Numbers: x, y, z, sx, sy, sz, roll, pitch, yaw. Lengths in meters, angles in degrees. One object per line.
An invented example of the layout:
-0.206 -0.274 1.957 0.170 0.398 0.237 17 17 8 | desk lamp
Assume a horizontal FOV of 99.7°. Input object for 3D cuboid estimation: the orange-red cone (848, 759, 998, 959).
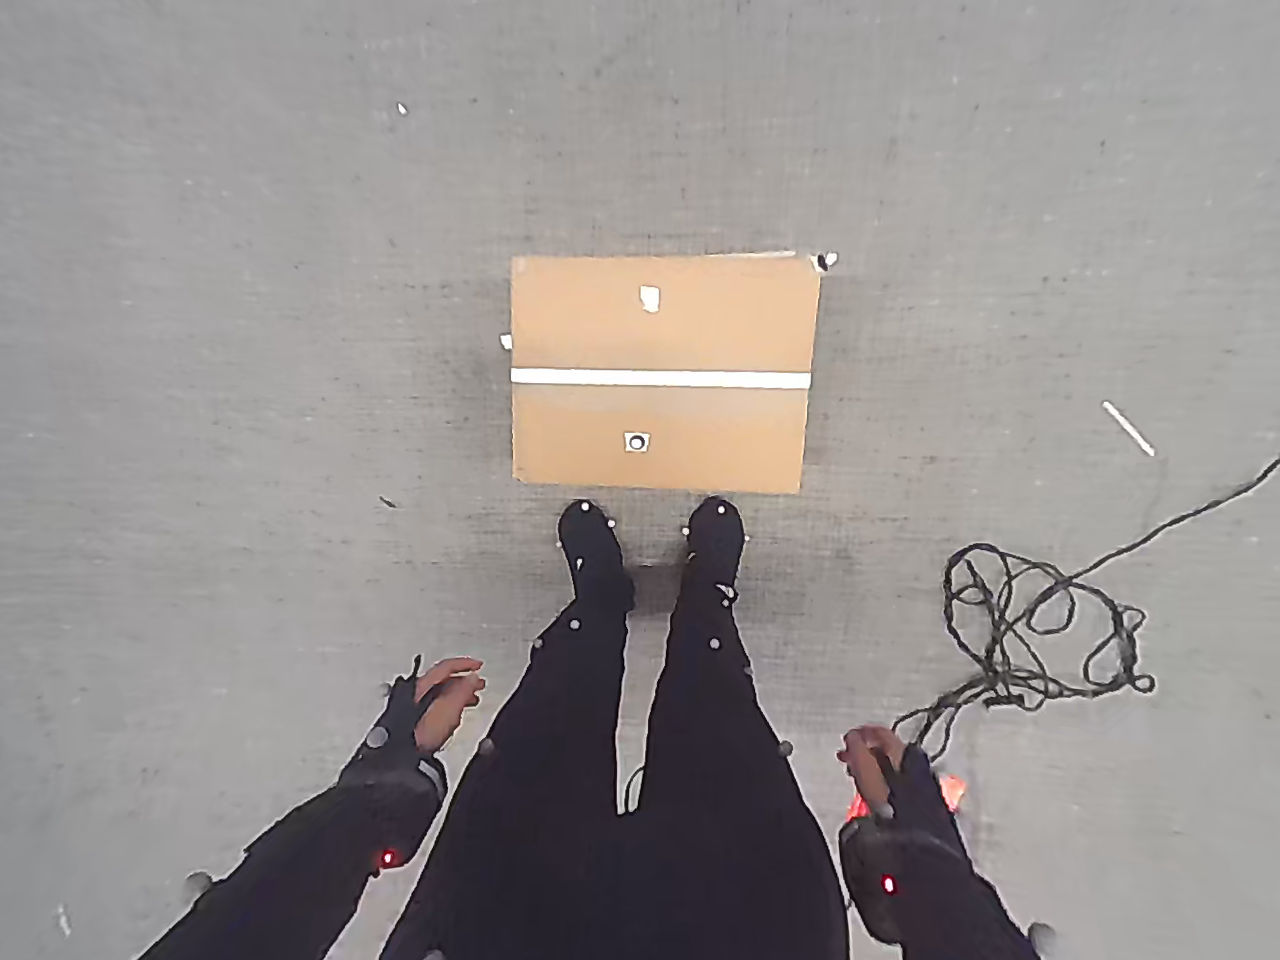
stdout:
0.560 0.738 0.995 0.199 0.360 0.198 20 104 -1 | orange-red cone
